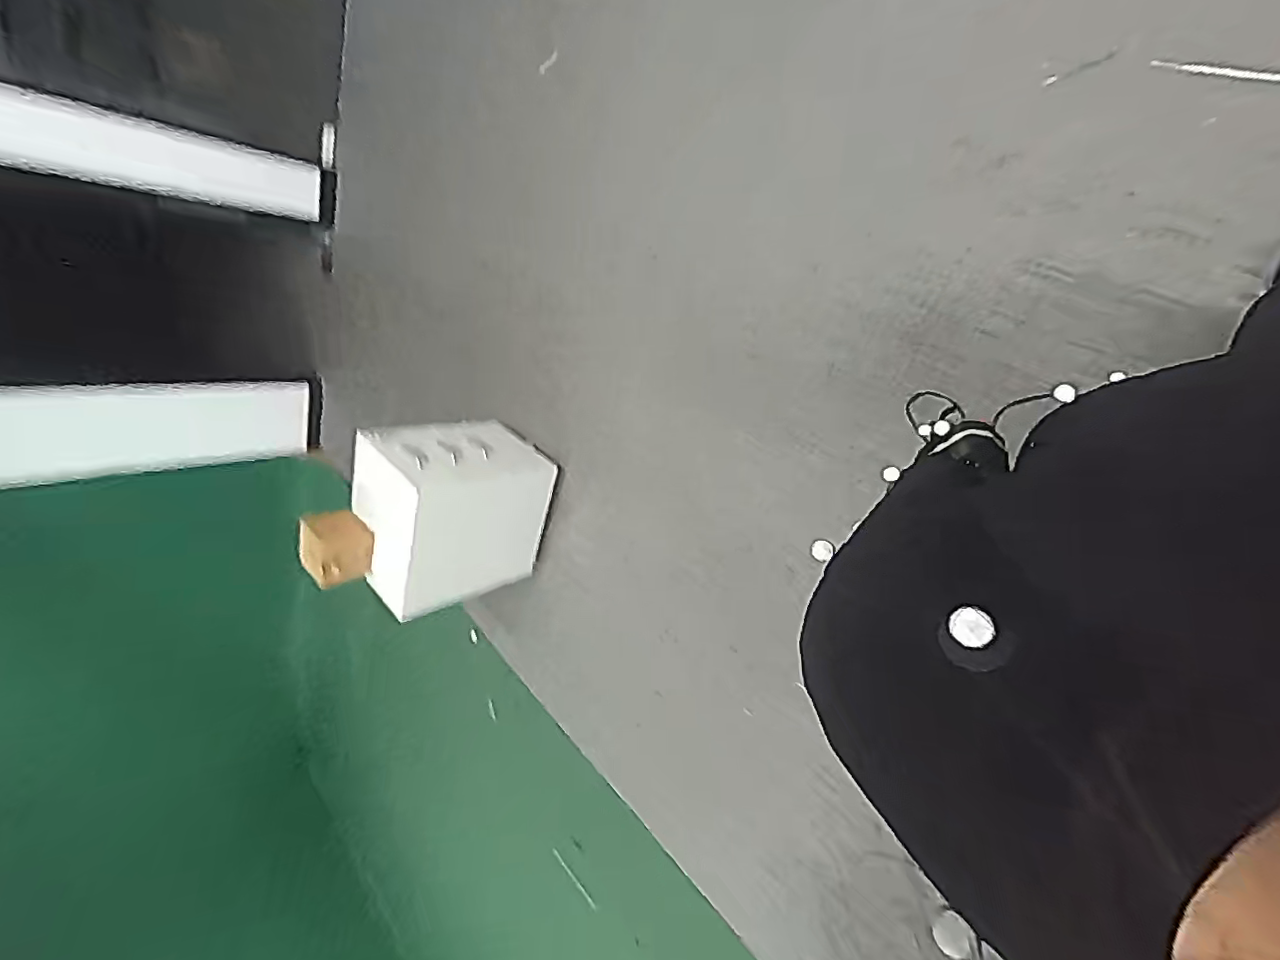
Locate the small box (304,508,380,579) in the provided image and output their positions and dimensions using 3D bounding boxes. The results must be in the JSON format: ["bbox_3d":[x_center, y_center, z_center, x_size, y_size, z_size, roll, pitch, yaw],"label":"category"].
[{"bbox_3d":[-1.017,0.208,1.842,0.179,0.176,0.168,32,117,29],"label":"small box"}]
